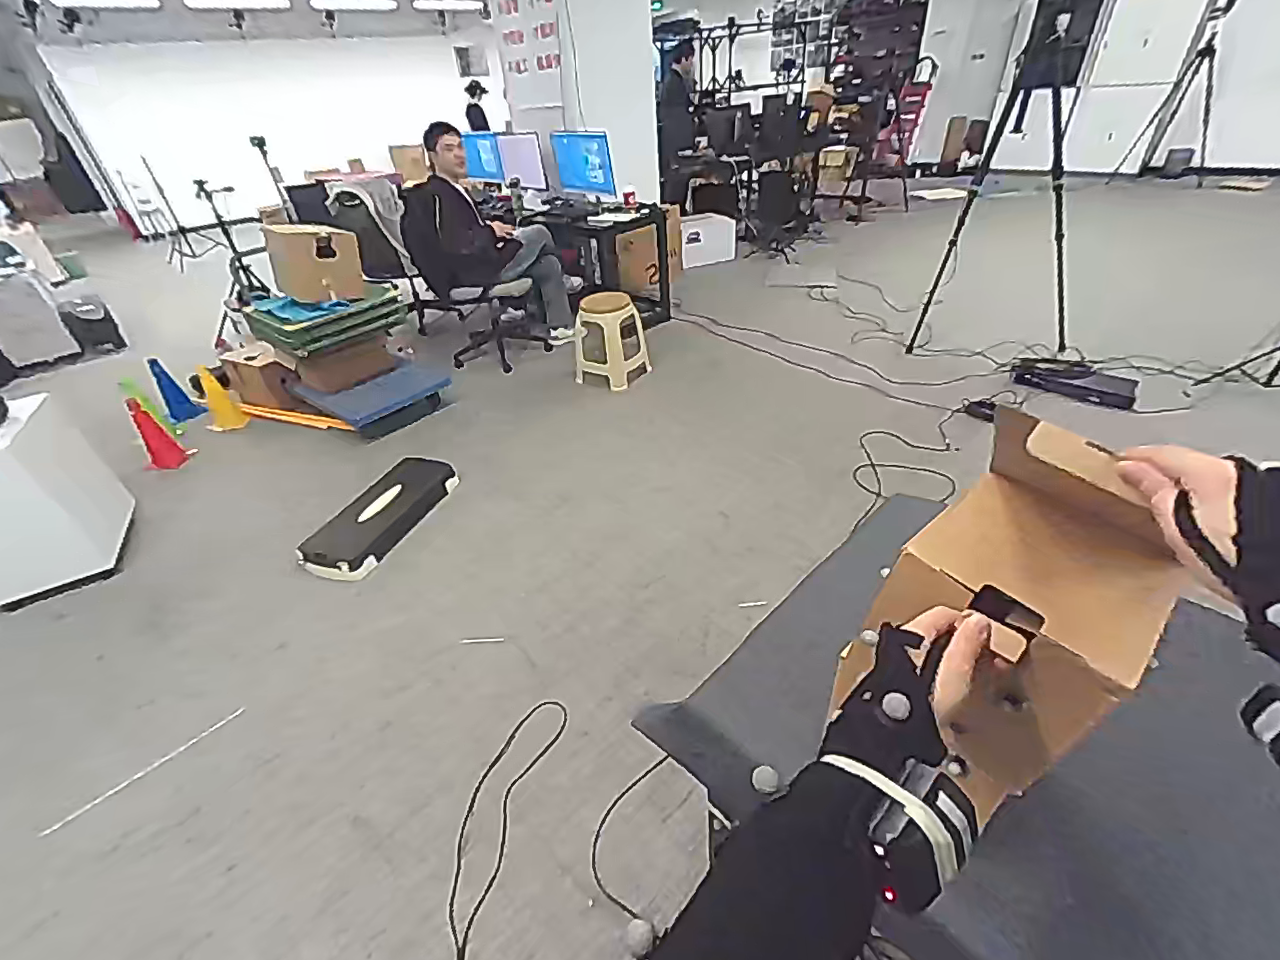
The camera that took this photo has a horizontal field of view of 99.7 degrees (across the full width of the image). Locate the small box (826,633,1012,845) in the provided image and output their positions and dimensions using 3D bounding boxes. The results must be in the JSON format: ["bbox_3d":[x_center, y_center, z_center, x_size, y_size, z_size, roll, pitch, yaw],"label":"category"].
[{"bbox_3d":[0.332,0.253,0.605,0.168,0.176,0.179,-29,43,-30],"label":"small box"}]

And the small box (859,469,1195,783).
[{"bbox_3d":[0.322,0.124,0.483,0.179,0.176,0.168,-26,48,-33],"label":"small box"}]
